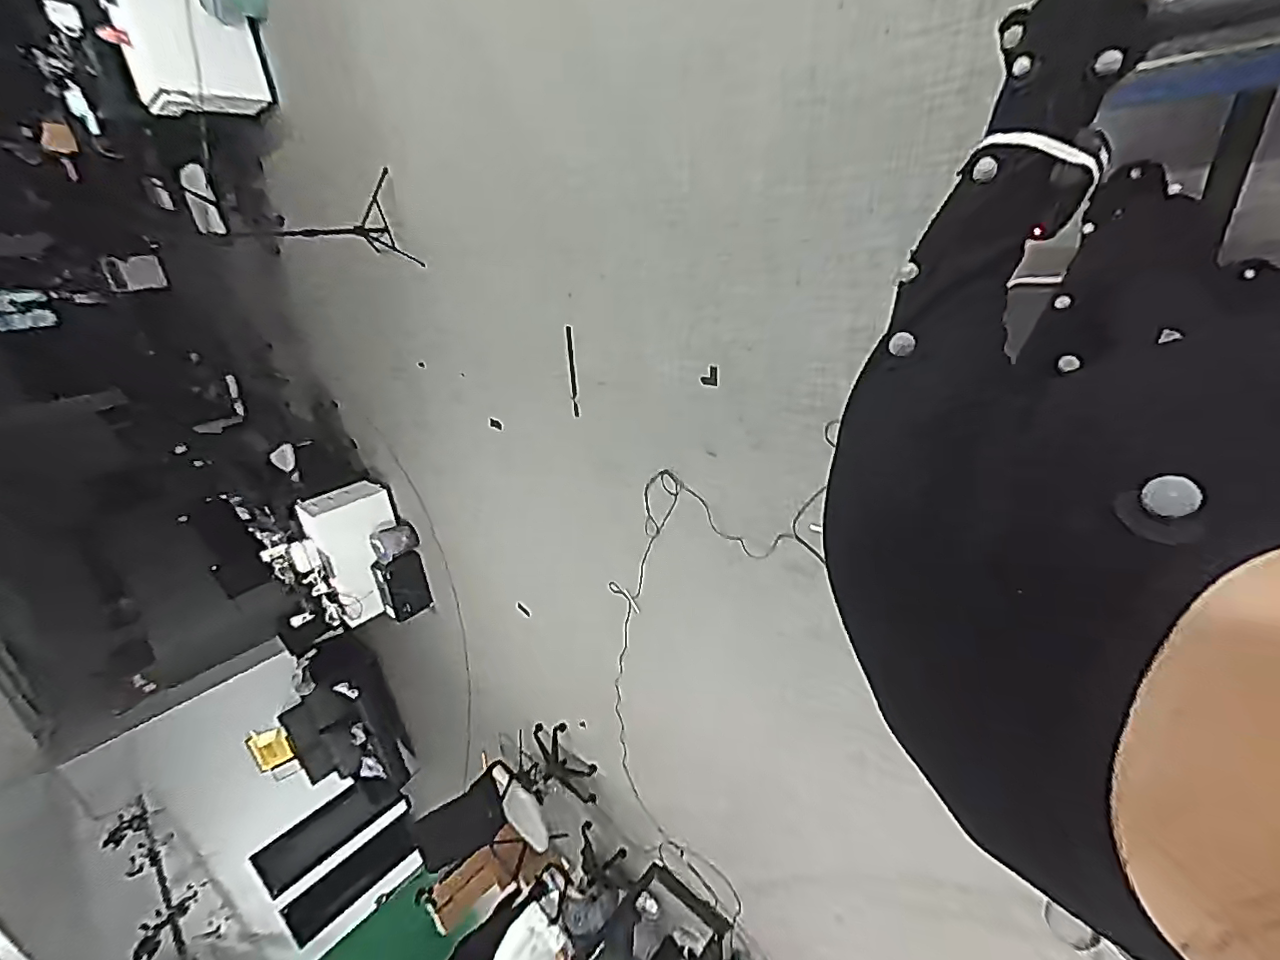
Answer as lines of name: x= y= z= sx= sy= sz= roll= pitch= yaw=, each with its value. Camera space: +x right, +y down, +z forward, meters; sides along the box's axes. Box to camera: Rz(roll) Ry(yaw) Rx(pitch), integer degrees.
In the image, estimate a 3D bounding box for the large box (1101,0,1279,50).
large box: x=0.811 y=-0.746 z=0.601 sx=0.408 sy=0.320 sz=0.320 roll=16 pitch=122 yaw=38
